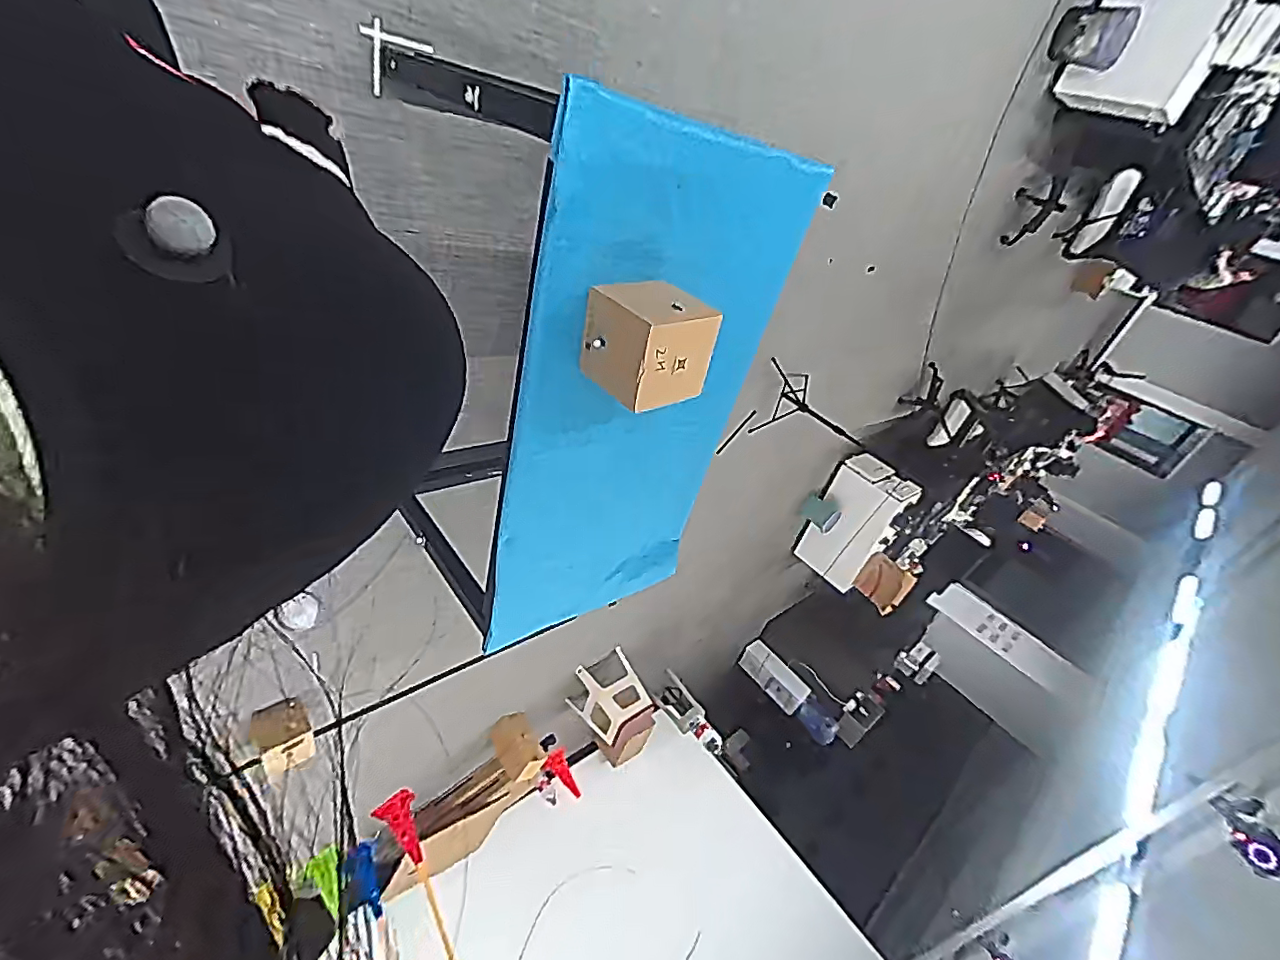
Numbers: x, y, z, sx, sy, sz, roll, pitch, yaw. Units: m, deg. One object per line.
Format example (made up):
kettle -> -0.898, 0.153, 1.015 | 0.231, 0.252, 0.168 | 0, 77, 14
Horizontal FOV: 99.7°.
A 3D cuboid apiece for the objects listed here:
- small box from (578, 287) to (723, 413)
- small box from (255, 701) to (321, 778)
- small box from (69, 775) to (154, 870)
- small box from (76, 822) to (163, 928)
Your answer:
small box -> 0.014, -0.242, 0.984 | 0.179, 0.176, 0.168 | -15, 134, -37
small box -> -1.323, 0.965, 2.033 | 0.168, 0.176, 0.179 | -16, 137, -39
small box -> -1.699, 1.088, 1.736 | 0.179, 0.176, 0.168 | 5, 122, -49
small box -> -1.602, 1.203, 1.662 | 0.179, 0.176, 0.168 | 2, 123, -48
